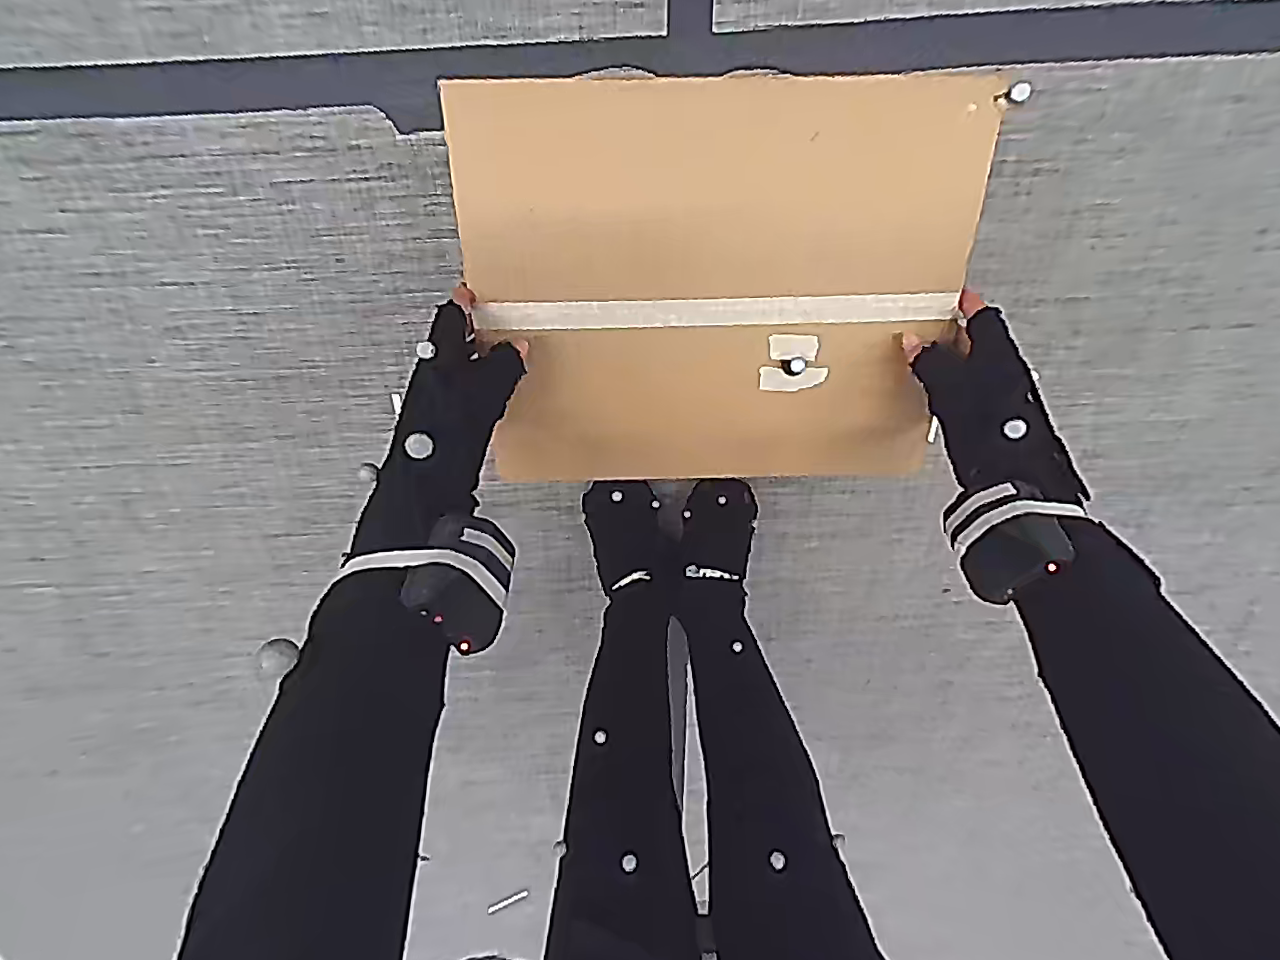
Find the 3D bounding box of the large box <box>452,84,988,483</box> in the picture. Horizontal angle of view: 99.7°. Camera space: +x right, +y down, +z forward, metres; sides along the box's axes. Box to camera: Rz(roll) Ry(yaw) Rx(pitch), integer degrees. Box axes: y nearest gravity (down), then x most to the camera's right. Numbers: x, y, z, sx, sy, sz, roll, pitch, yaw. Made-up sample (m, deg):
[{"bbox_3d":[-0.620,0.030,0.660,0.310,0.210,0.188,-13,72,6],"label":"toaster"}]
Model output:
[{"bbox_3d":[0.059,-0.207,0.592,0.408,0.320,0.320,-2,117,-1],"label":"large box"}]
